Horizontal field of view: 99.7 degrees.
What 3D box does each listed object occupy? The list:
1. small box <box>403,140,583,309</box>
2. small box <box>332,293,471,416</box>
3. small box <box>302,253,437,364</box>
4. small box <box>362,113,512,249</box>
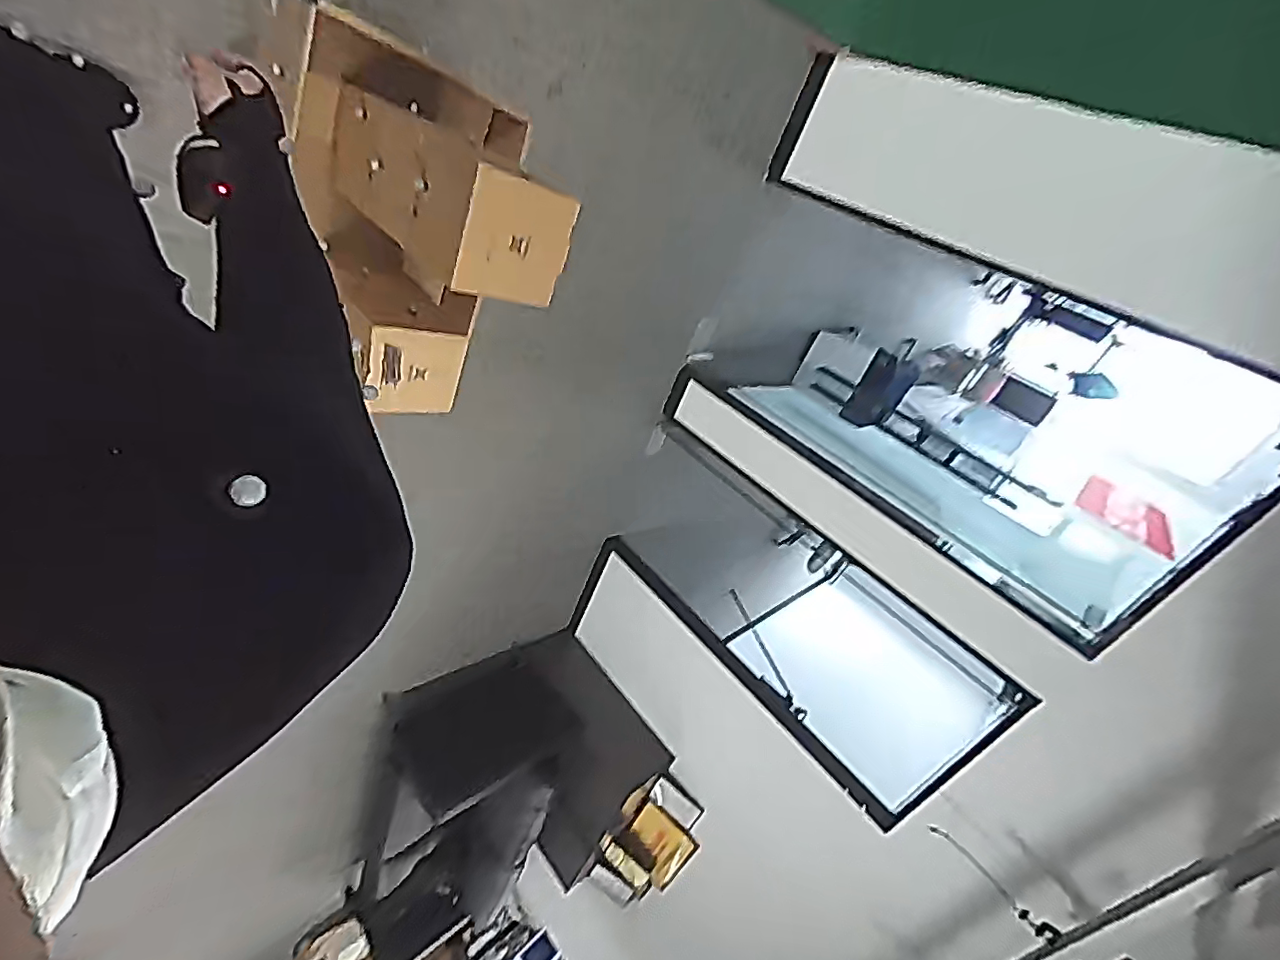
[{"bbox_3d":[-0.224,-0.379,0.813,0.179,0.176,0.168,-7,130,-49],"label":"small box"},{"bbox_3d":[-0.453,-0.233,1.014,0.179,0.176,0.168,-8,132,-48],"label":"small box"},{"bbox_3d":[-0.551,-0.335,1.098,0.179,0.176,0.168,-2,127,-50],"label":"small box"},{"bbox_3d":[-0.328,-0.474,0.895,0.179,0.176,0.168,-8,131,-48],"label":"small box"}]
